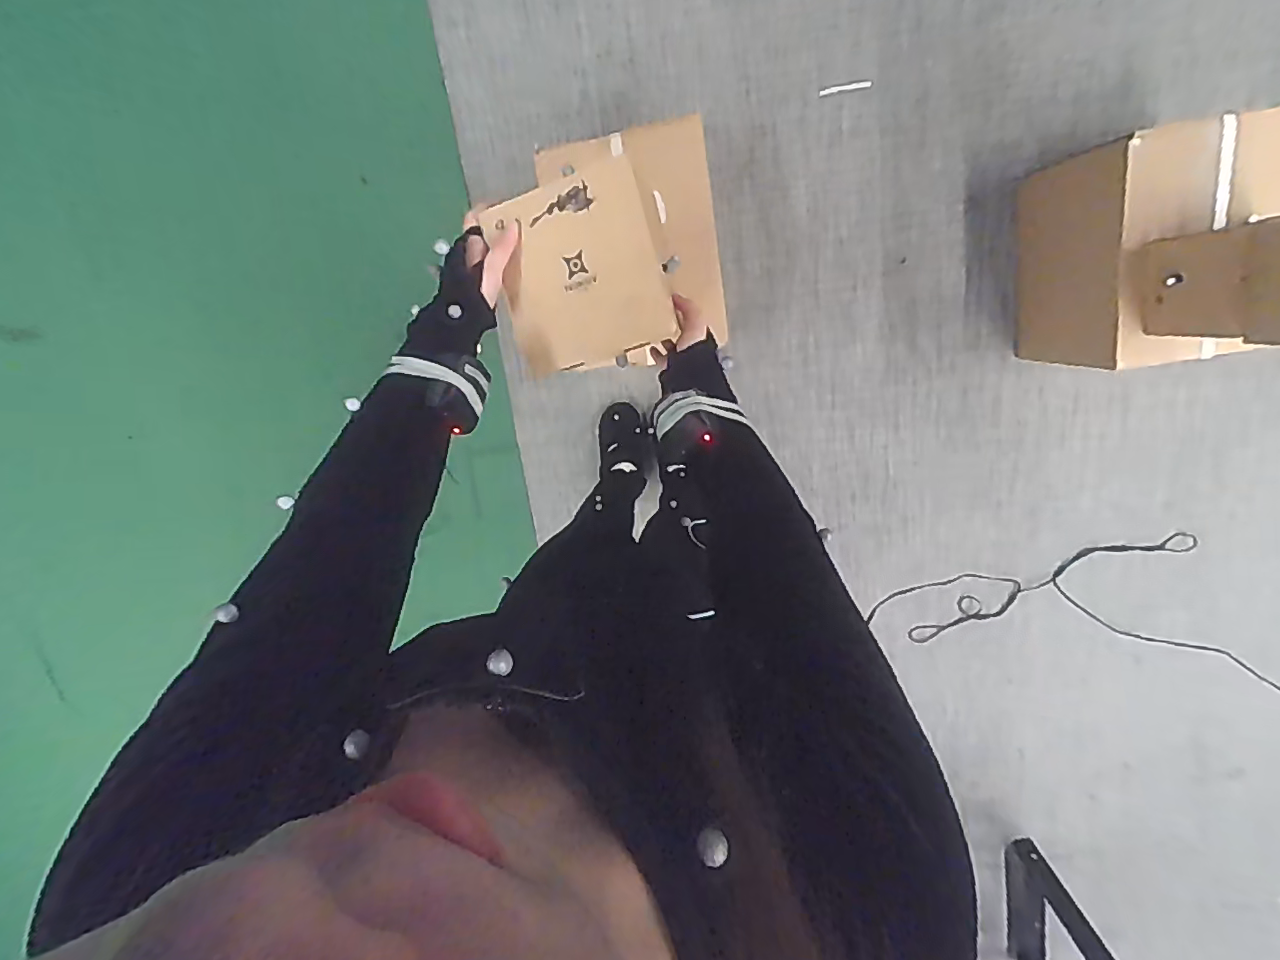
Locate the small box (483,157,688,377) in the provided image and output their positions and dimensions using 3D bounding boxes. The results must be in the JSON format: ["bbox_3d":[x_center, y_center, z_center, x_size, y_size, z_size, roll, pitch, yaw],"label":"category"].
[{"bbox_3d":[-0.046,-0.234,0.621,0.168,0.176,0.179,-13,106,13],"label":"small box"}]

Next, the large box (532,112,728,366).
[{"bbox_3d":[-0.002,-0.479,1.159,0.320,0.320,0.408,-8,106,6],"label":"large box"}]

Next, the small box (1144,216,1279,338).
[{"bbox_3d":[1.002,-0.338,0.894,0.179,0.176,0.168,-9,107,7],"label":"small box"}]
